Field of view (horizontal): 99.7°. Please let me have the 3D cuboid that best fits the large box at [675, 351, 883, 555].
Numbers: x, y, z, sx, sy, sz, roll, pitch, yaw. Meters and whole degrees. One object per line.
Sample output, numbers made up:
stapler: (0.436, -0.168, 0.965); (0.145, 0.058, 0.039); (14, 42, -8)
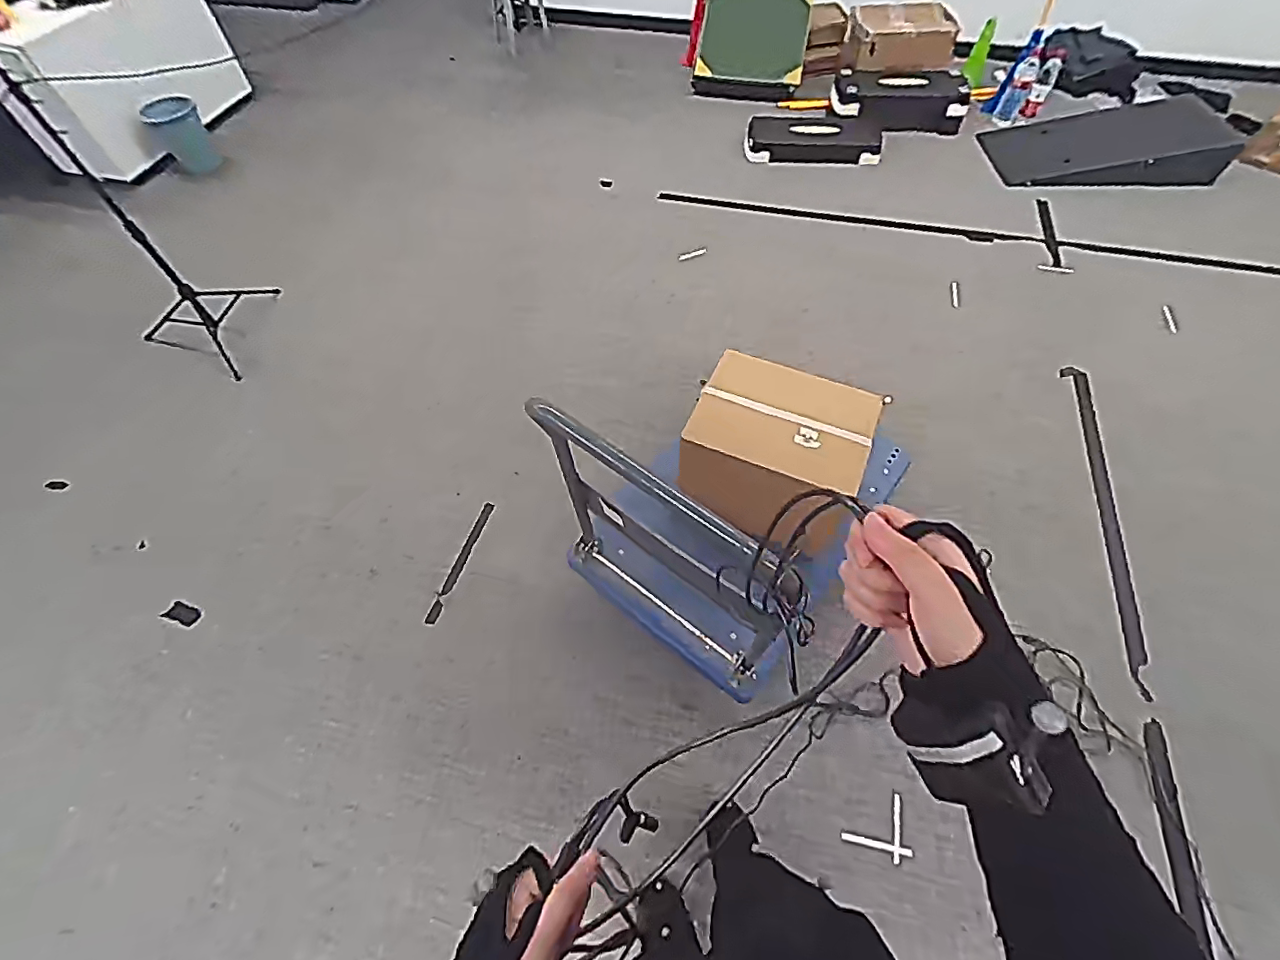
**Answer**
large box: (0.333, -0.065, 1.375); (0.408, 0.320, 0.320); (21, 61, 13)
